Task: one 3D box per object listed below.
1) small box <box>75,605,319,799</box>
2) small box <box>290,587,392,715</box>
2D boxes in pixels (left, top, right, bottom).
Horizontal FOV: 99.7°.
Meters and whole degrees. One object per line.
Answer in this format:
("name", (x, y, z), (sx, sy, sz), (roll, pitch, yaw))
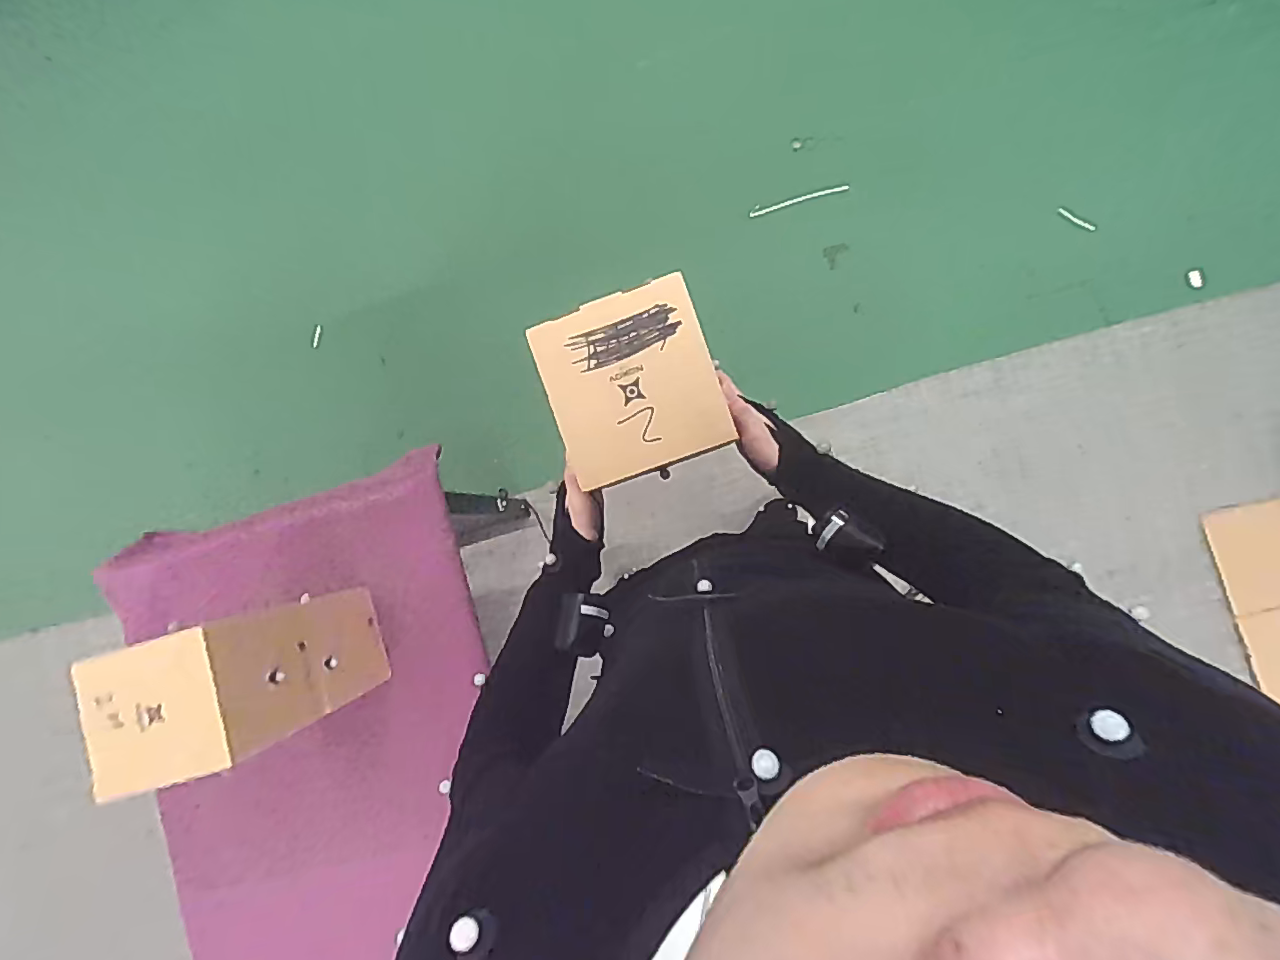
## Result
("small box", (-0.554, 0.272, 0.704), (0.179, 0.176, 0.168), (-16, 85, 5))
("small box", (-0.538, 0.282, 0.868), (0.179, 0.176, 0.168), (-18, 86, 5))
